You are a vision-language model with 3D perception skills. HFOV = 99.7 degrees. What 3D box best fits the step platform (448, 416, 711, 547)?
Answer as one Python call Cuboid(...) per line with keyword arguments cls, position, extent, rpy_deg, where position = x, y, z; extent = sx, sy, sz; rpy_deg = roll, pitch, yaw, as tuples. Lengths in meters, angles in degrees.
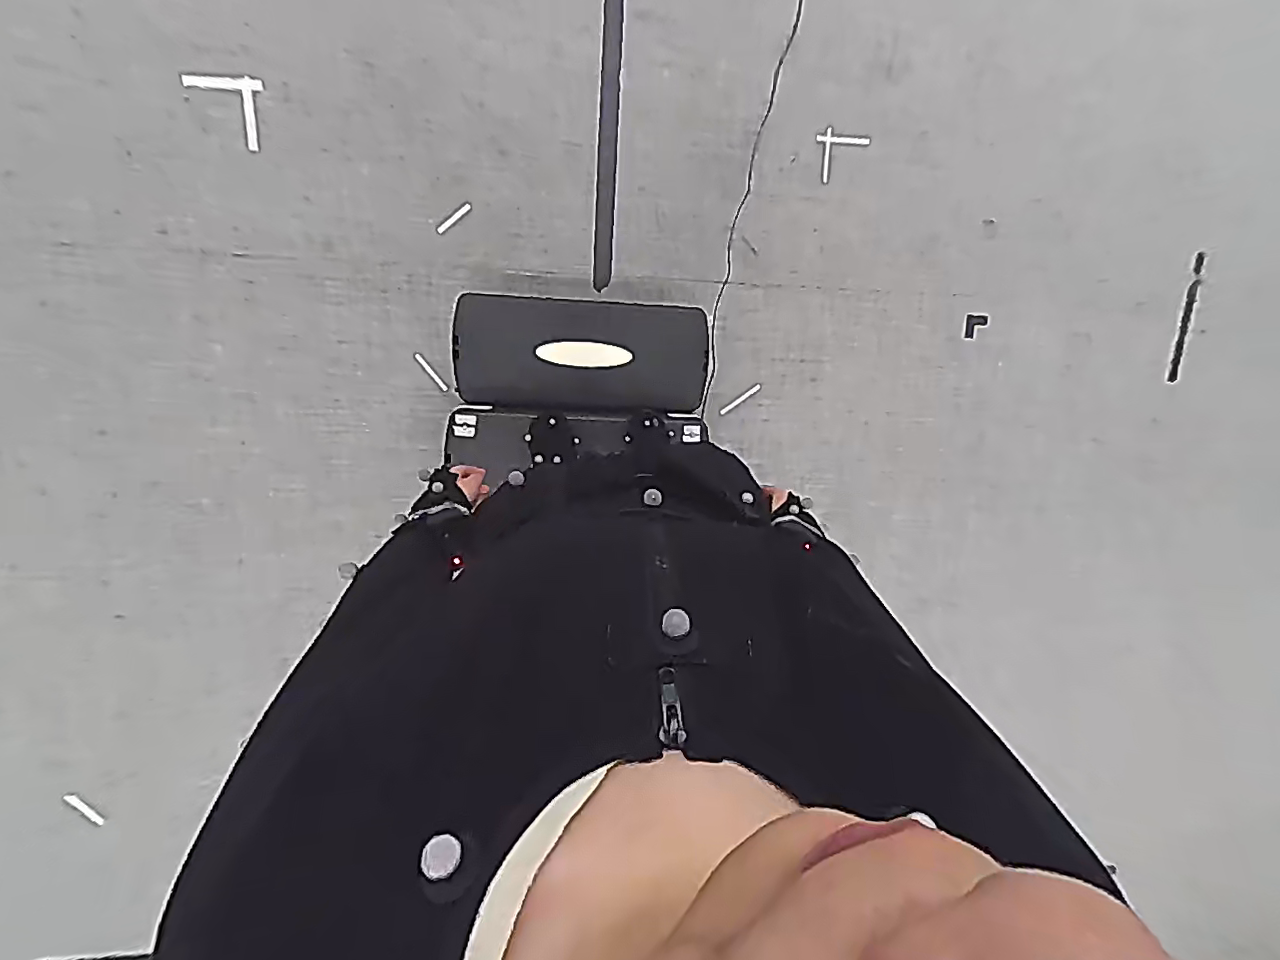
Cuboid(cls="step platform", position=(-0.153, 0.005, 1.449), extent=(0.684, 0.204, 0.286), rpy_deg=(6, 97, -7))
